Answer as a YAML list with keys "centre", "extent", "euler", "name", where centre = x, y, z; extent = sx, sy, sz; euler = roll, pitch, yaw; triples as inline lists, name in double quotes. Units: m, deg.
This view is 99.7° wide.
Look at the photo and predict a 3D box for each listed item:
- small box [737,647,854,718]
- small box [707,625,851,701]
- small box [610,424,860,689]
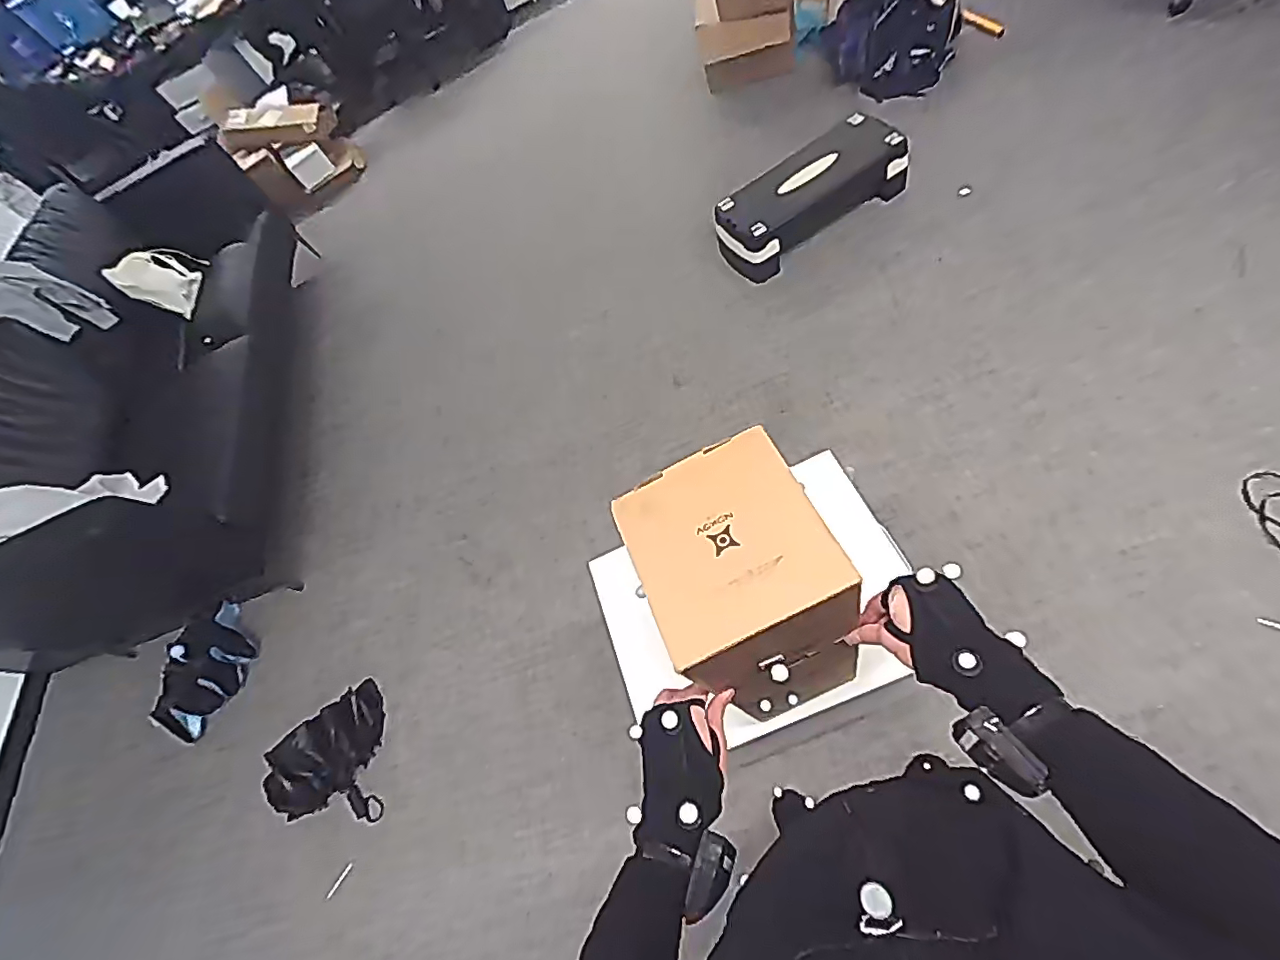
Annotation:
- centre: [0.199, 0.235, 0.812]
  extent: [0.168, 0.176, 0.179]
  euler: [-29, 57, 4]
  name: "small box"
- centre: [0.146, 0.159, 0.675]
  extent: [0.168, 0.176, 0.179]
  euler: [-28, 55, 4]
  name: "small box"
- centre: [0.095, 0.084, 0.539]
  extent: [0.168, 0.176, 0.179]
  euler: [-29, 57, 5]
  name: "small box"
